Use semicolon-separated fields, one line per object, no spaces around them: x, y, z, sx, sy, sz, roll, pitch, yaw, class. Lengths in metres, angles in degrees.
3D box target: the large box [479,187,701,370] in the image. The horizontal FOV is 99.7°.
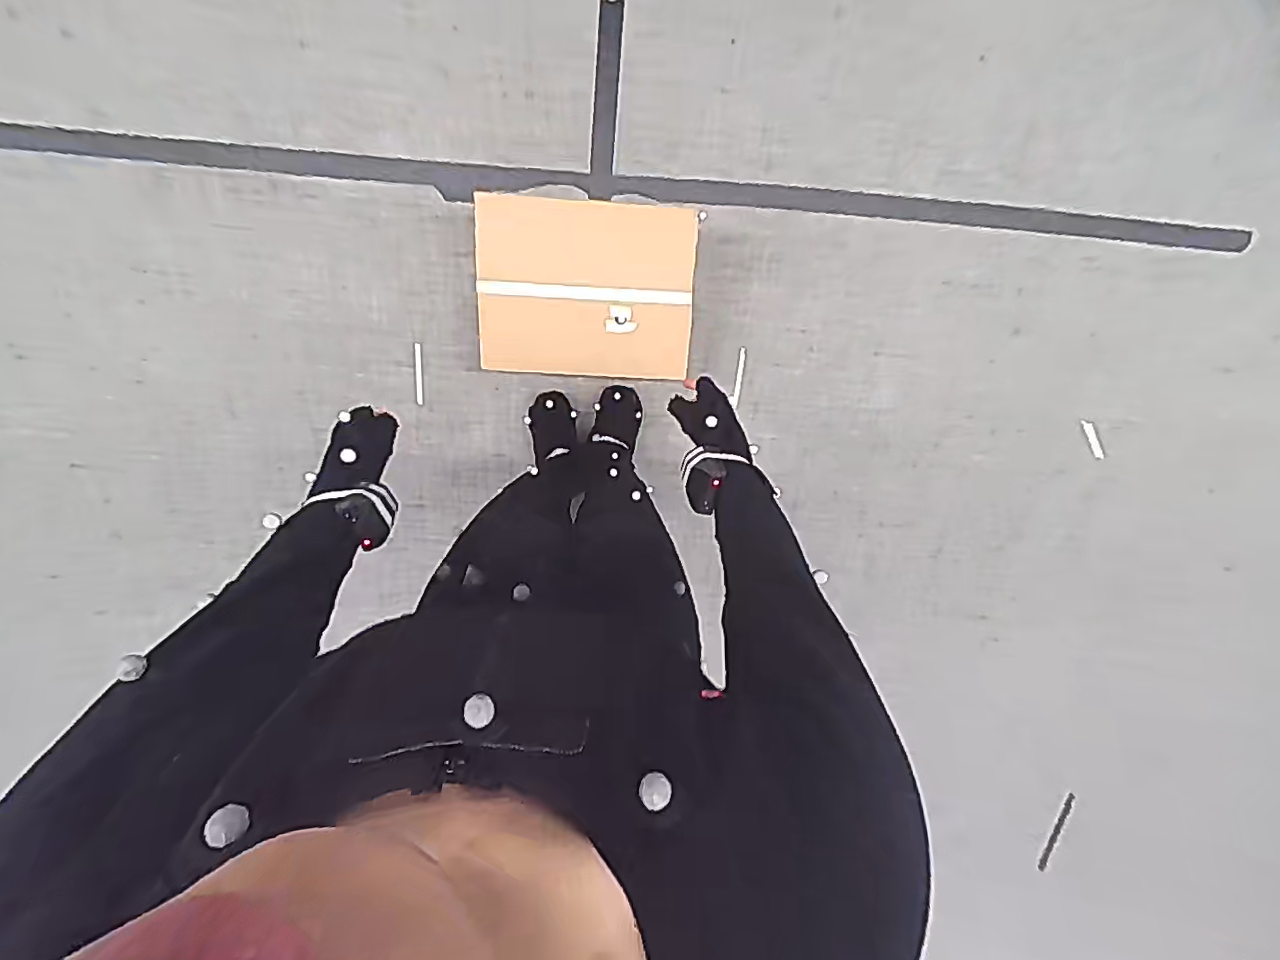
-0.105;-0.416;1.155;0.408;0.320;0.320;2;110;-5;large box
